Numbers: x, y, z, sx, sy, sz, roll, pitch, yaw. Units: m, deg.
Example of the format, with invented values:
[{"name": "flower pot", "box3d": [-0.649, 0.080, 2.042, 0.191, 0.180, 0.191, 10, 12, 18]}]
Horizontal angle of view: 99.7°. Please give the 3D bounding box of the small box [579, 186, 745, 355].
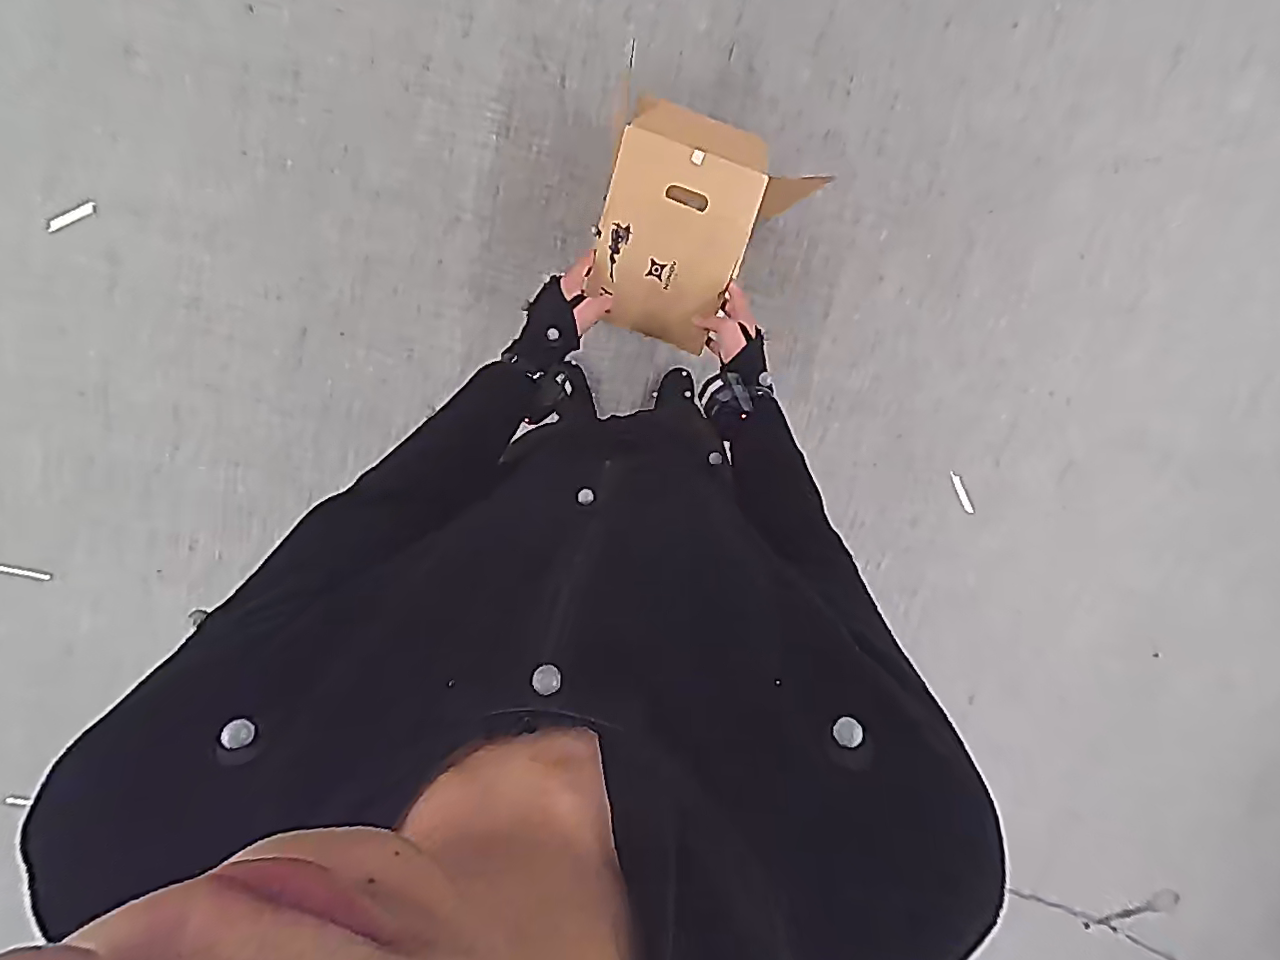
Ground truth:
[{"name": "small box", "box3d": [0.020, -0.300, 0.772, 0.179, 0.176, 0.168, 16, 113, -13]}]
